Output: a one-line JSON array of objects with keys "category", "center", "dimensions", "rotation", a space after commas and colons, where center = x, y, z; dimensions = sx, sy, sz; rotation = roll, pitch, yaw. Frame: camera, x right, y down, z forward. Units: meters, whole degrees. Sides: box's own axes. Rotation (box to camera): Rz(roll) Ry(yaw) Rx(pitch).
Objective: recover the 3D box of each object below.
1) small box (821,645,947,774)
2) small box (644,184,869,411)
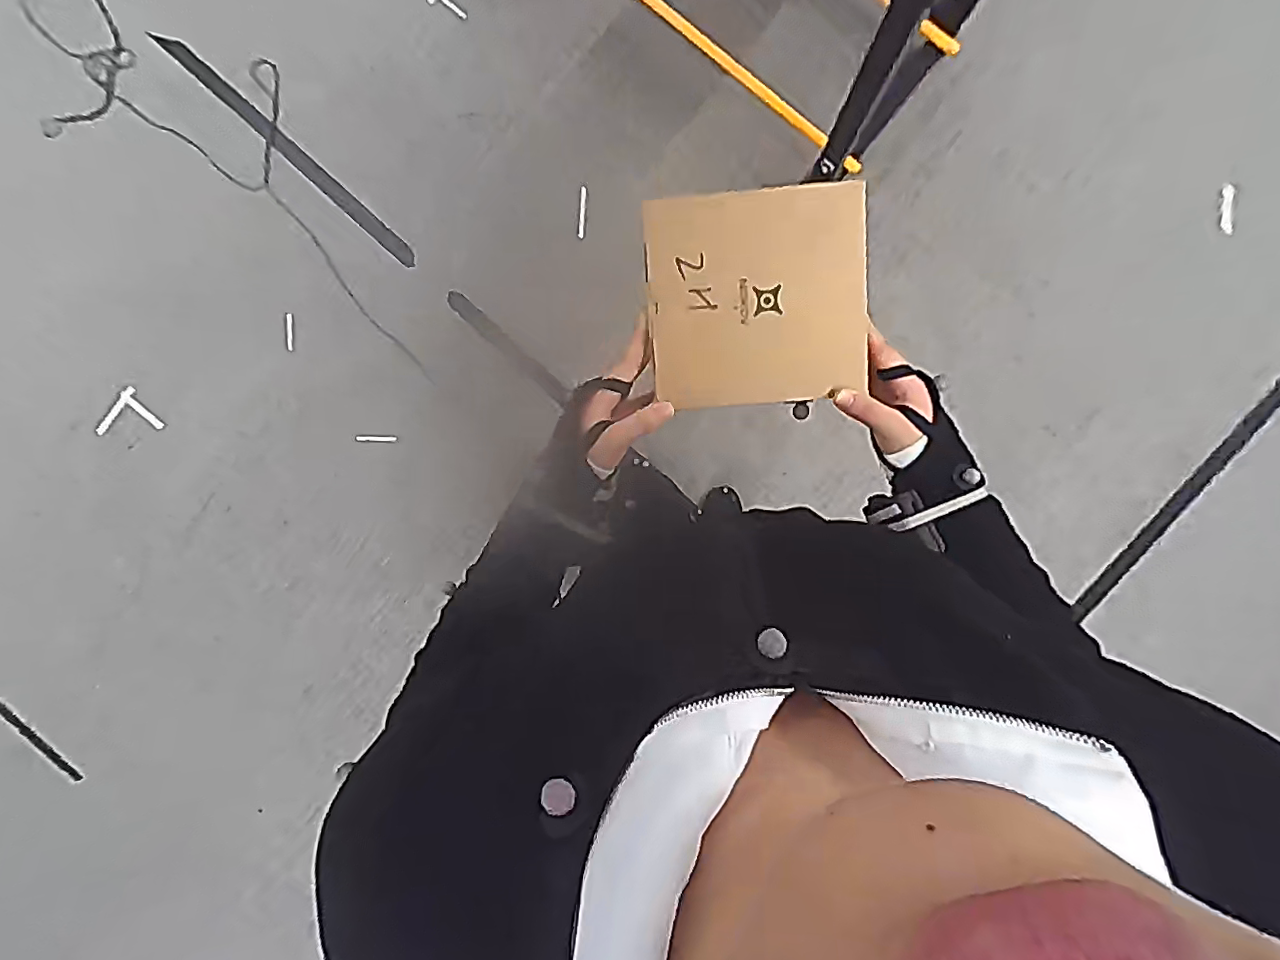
[{"category": "small box", "center": [0.543, 0.510, 1.232], "dimensions": [0.168, 0.176, 0.179], "rotation": [41, 94, 2]}, {"category": "small box", "center": [0.096, -0.156, 0.510], "dimensions": [0.179, 0.176, 0.168], "rotation": [-4, 99, 3]}]
